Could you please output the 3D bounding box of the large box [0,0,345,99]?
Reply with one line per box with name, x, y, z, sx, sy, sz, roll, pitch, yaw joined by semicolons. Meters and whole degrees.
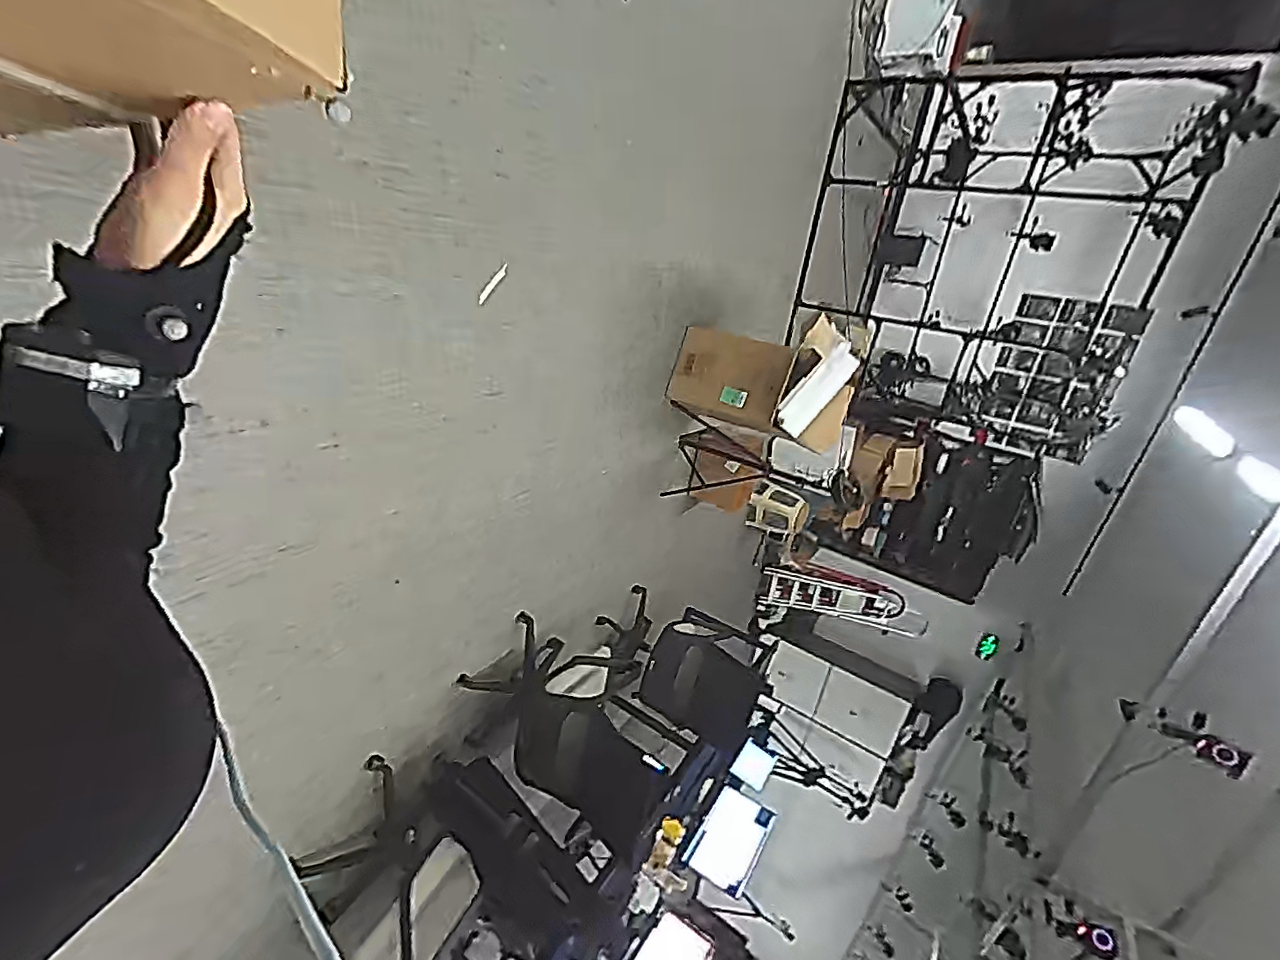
large box;-0.340;-0.349;0.099;0.408;0.320;0.320;-27;124;-69
